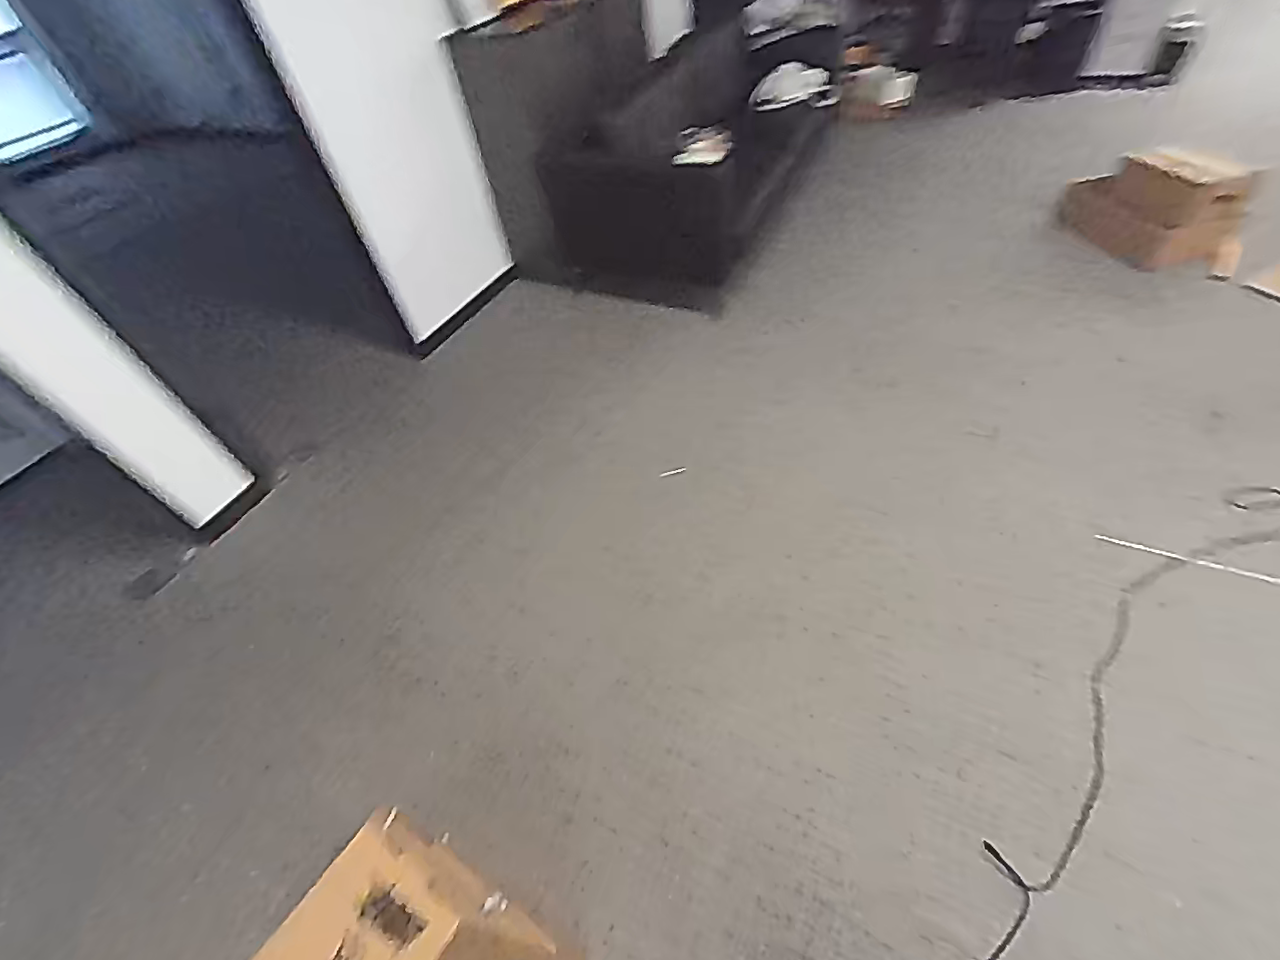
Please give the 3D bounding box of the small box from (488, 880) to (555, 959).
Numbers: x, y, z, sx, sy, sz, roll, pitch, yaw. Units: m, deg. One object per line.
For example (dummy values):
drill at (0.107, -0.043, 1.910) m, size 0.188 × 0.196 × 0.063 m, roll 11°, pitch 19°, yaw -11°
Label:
small box at (-0.260, 0.756, 0.851) m, size 0.179 × 0.176 × 0.168 m, roll 22°, pitch 54°, yaw 28°

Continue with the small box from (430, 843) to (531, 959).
small box at (-0.269, 0.643, 0.734) m, size 0.168 × 0.176 × 0.179 m, roll 23°, pitch 56°, yaw 28°

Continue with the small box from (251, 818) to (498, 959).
small box at (-0.285, 0.533, 0.613) m, size 0.168 × 0.176 × 0.179 m, roll 23°, pitch 56°, yaw 28°
